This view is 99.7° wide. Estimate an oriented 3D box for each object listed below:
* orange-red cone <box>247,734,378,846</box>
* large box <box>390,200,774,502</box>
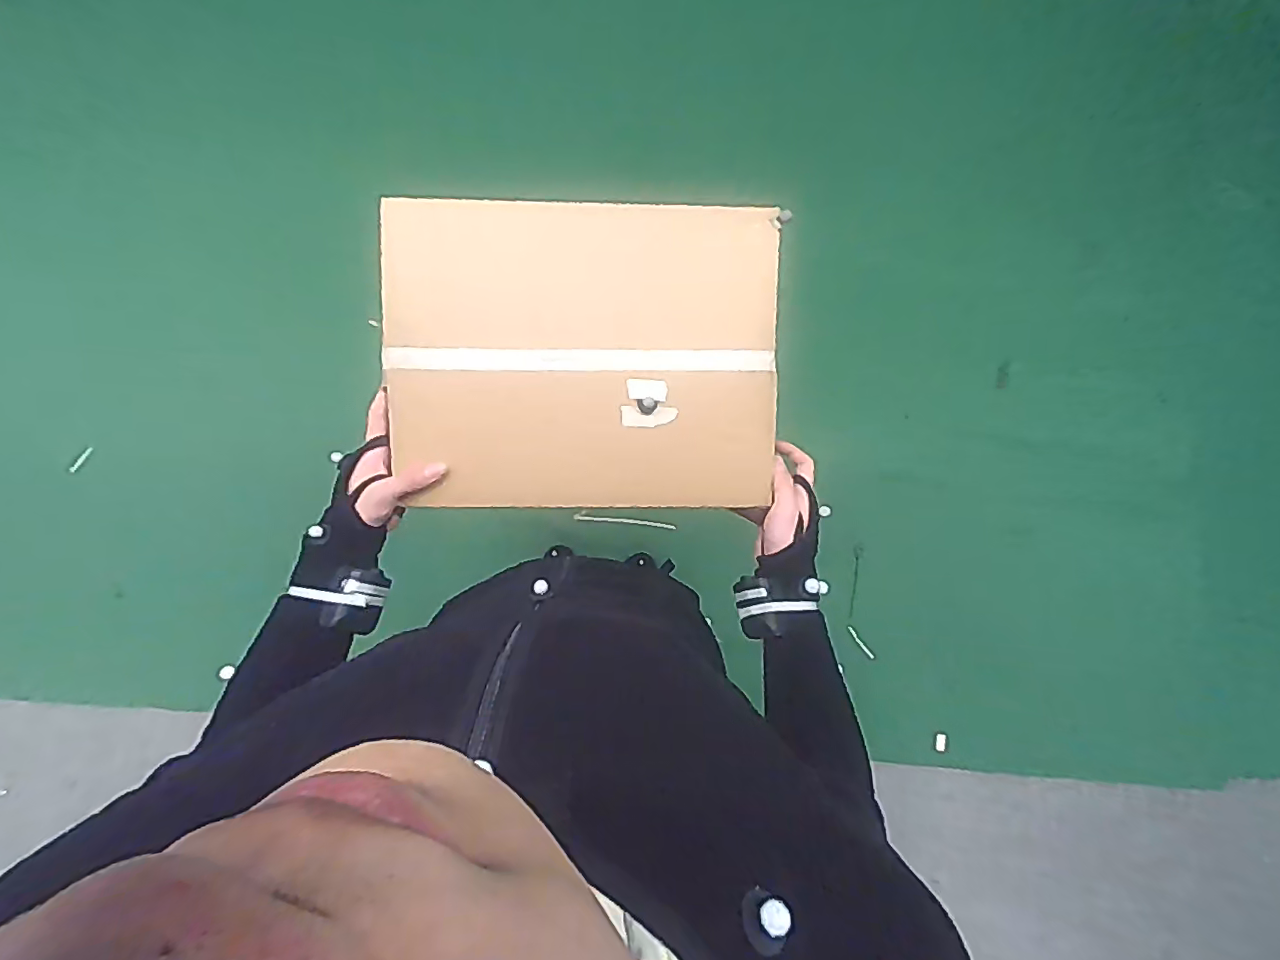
[{"bbox_3d":[-0.845,0.803,1.344,0.199,0.360,0.198,13,80,-1],"label":"orange-red cone"},{"bbox_3d":[-0.066,-0.147,0.720,0.408,0.320,0.320,0,96,-3],"label":"large box"}]
